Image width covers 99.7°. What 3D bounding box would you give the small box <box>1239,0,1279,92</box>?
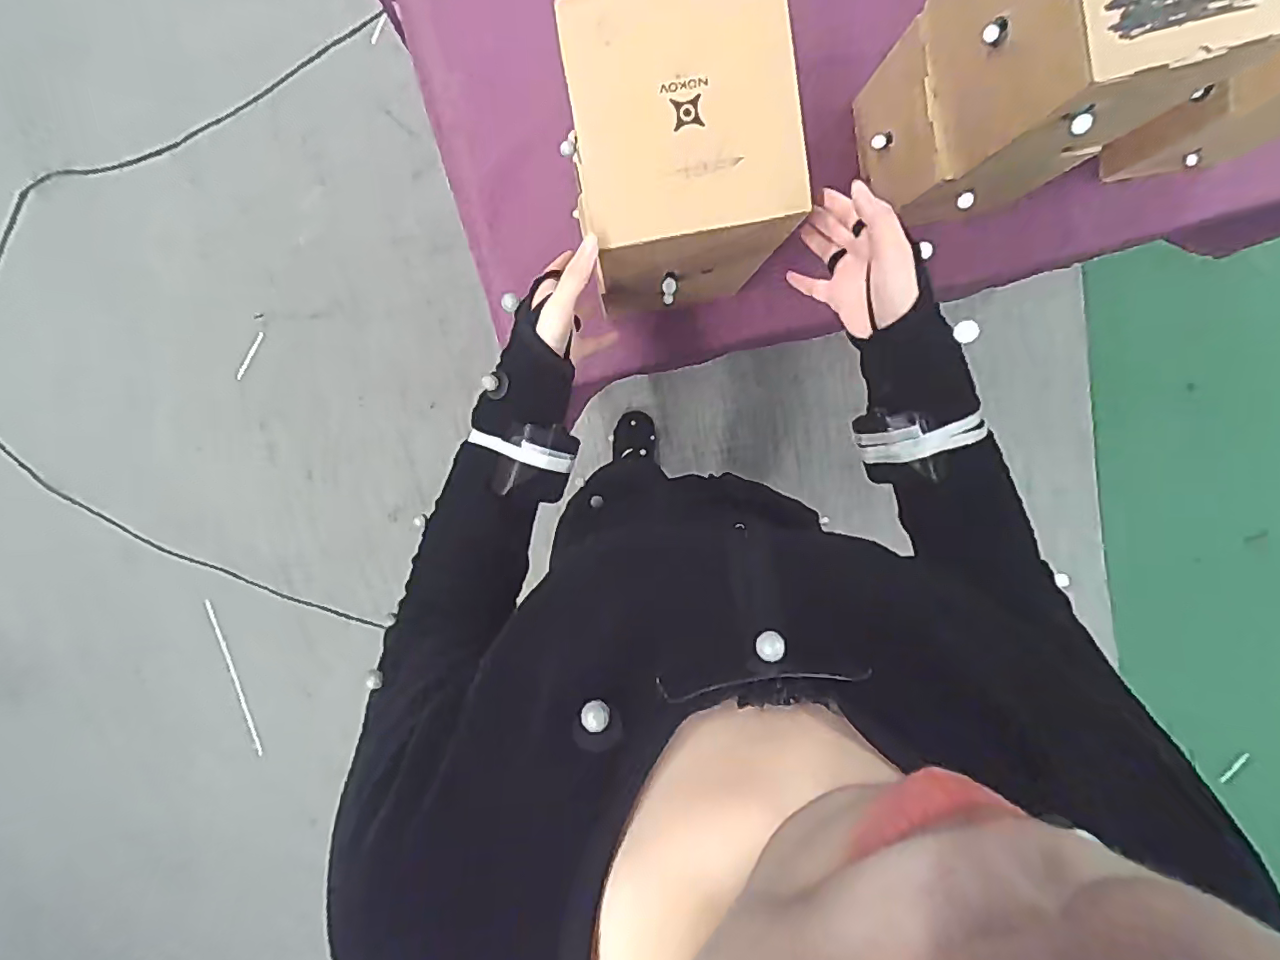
[{"bbox_3d":[0.681,-0.470,0.463,0.168,0.176,0.179,-11,98,0],"label":"small box"}]

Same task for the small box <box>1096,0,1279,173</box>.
[{"bbox_3d":[0.676,-0.492,0.626,0.168,0.176,0.179,-10,98,0],"label":"small box"}]

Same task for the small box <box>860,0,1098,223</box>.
[{"bbox_3d":[0.373,-0.419,0.629,0.179,0.176,0.168,-10,98,1],"label":"small box"}]

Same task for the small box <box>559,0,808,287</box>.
[{"bbox_3d":[0.031,-0.287,0.474,0.168,0.176,0.179,-10,98,0],"label":"small box"}]

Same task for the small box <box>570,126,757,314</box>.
[{"bbox_3d":[0.026,-0.304,0.636,0.179,0.176,0.168,-11,97,-1],"label":"small box"}]
